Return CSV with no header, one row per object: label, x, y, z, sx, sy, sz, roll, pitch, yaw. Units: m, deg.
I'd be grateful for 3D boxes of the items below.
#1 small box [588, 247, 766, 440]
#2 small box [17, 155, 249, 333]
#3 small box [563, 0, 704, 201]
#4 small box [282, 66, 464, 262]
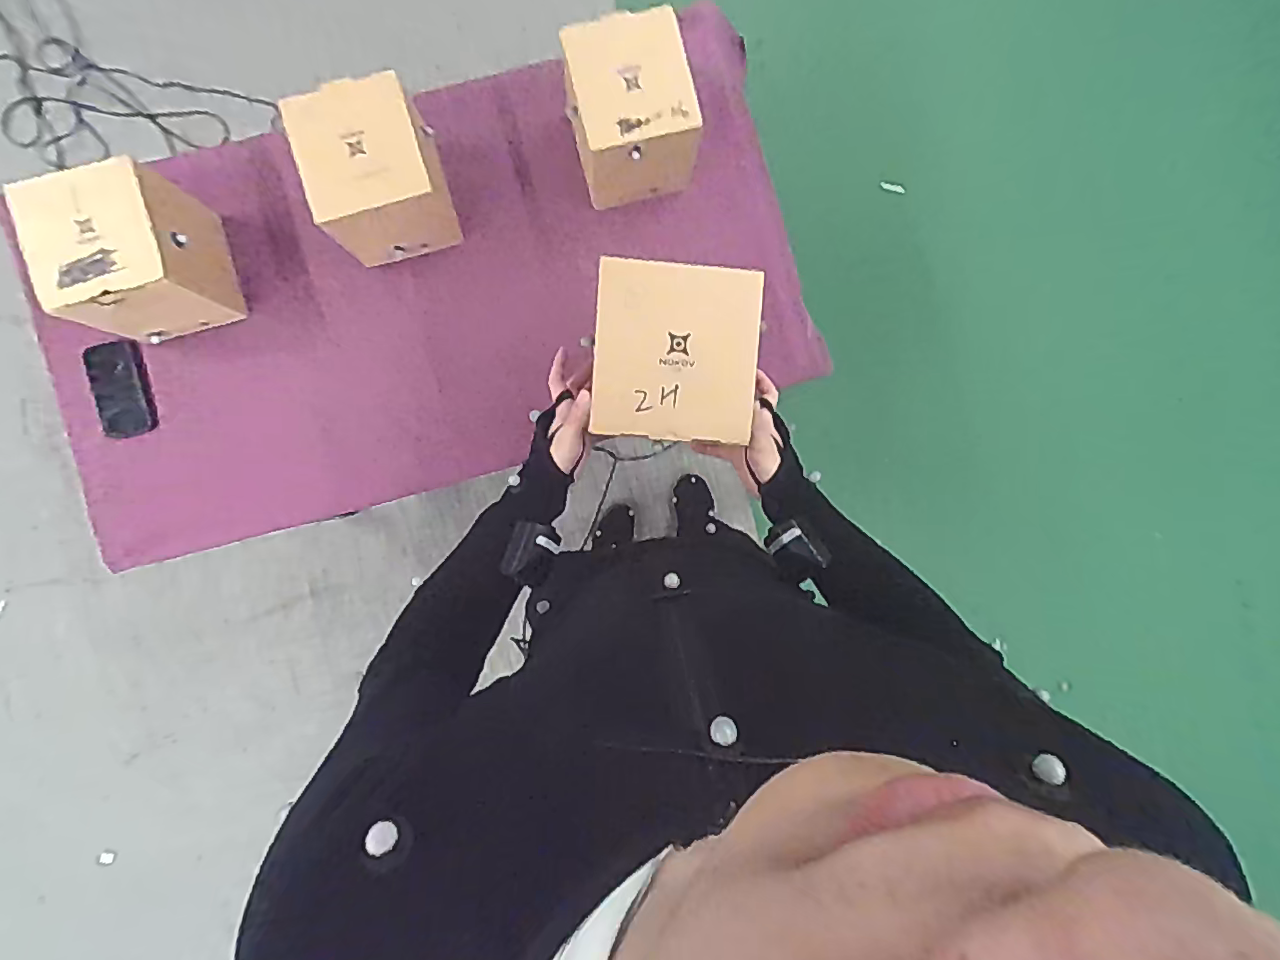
small box,0.032,-0.140,0.612,0.168,0.176,0.179,5,95,-2
small box,-0.728,-0.331,0.801,0.168,0.176,0.179,-17,90,-2
small box,-0.012,-0.567,0.824,0.168,0.176,0.179,-15,91,-1
small box,-0.386,-0.460,0.814,0.168,0.176,0.179,-17,92,-1
